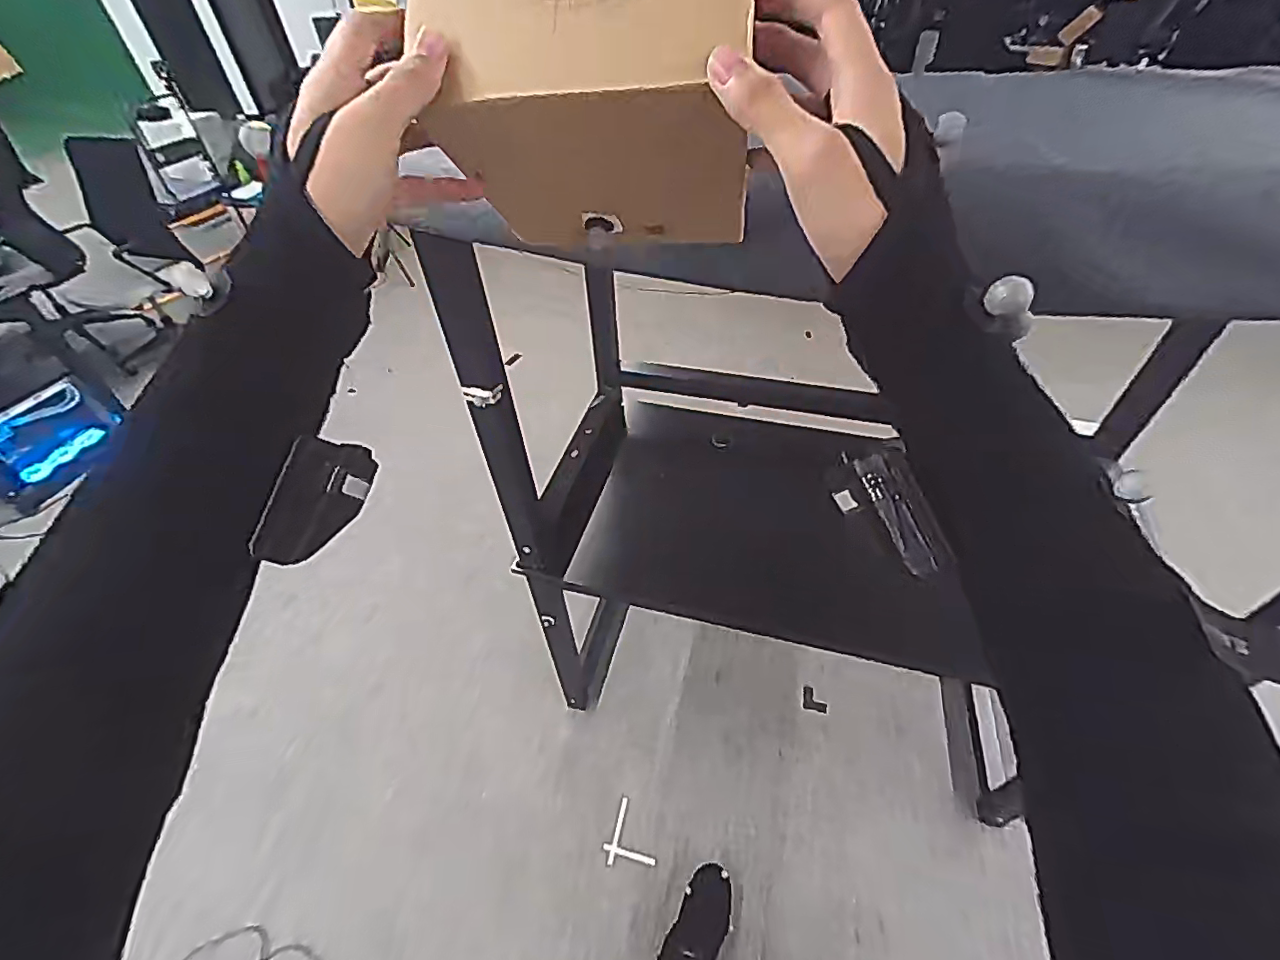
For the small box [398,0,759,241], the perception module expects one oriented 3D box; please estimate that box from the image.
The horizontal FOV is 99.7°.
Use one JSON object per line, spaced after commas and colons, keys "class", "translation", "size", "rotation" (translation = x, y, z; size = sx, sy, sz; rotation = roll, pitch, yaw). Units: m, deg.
{"class": "small box", "translation": [-0.015, -0.265, 0.319], "size": [0.168, 0.176, 0.179], "rotation": [3, 90, 10]}
